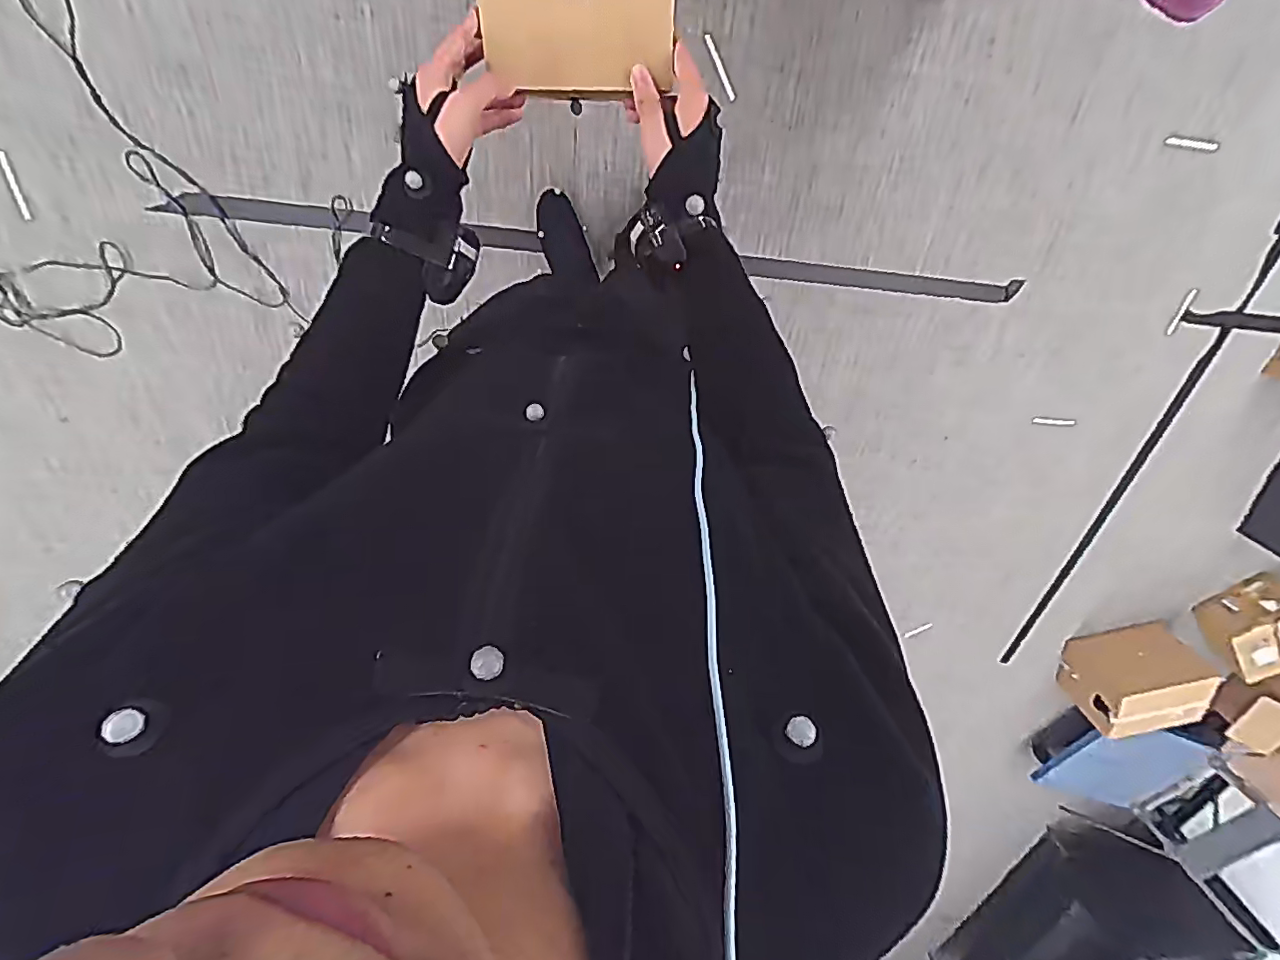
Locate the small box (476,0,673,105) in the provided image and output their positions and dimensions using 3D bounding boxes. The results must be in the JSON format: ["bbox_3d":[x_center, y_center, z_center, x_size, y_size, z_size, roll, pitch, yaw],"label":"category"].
[{"bbox_3d":[-0.058,-0.456,0.500,0.168,0.176,0.179,-3,122,-5],"label":"small box"}]
